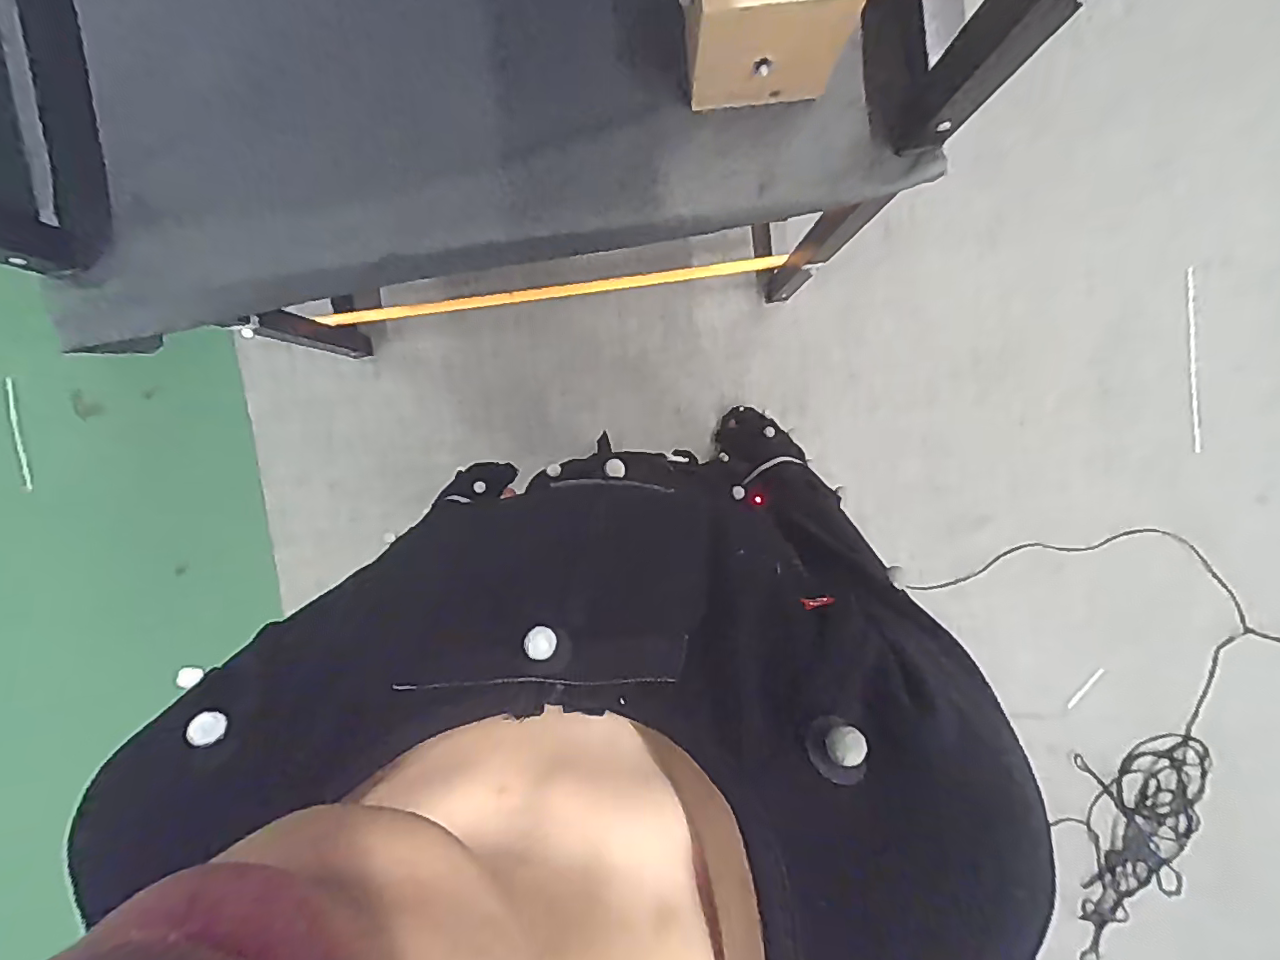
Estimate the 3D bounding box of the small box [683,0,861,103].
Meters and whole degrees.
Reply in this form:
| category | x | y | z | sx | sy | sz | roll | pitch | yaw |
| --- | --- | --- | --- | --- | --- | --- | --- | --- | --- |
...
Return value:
| category | x | y | z | sx | sy | sz | roll | pitch | yaw |
| --- | --- | --- | --- | --- | --- | --- | --- | --- | --- |
| small box | 0.137 | -0.557 | 0.606 | 0.168 | 0.176 | 0.179 | -4 | 94 | 2 |
